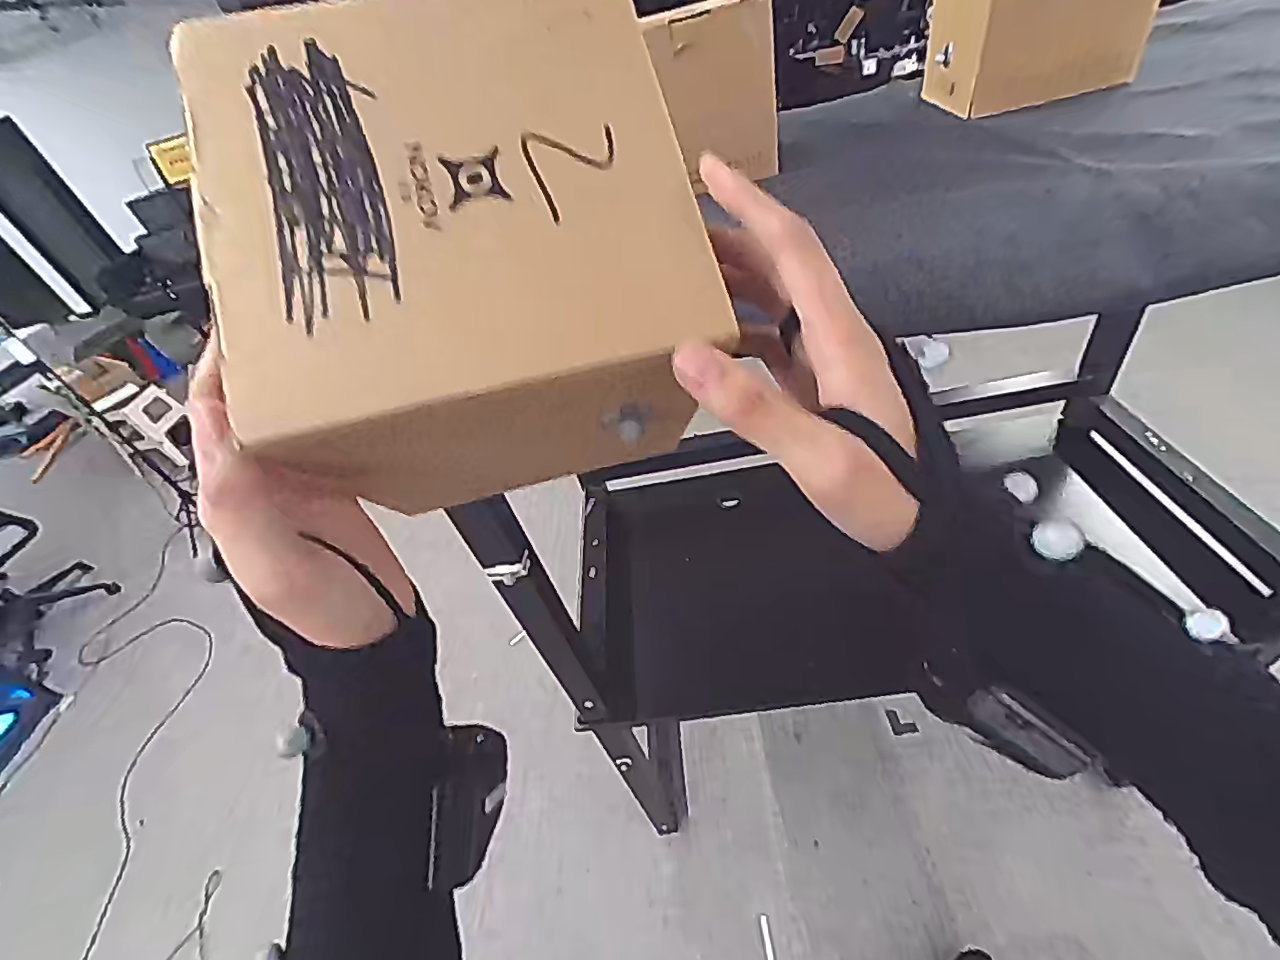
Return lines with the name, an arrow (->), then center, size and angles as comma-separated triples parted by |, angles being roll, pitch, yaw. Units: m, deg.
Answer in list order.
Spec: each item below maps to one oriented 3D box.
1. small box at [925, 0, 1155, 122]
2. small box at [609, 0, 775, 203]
small box -> 0.457, -0.546, 0.627 | 0.179, 0.176, 0.168 | -9, 42, 10
small box -> 0.064, -0.456, 0.657 | 0.168, 0.176, 0.179 | -10, 41, 7
